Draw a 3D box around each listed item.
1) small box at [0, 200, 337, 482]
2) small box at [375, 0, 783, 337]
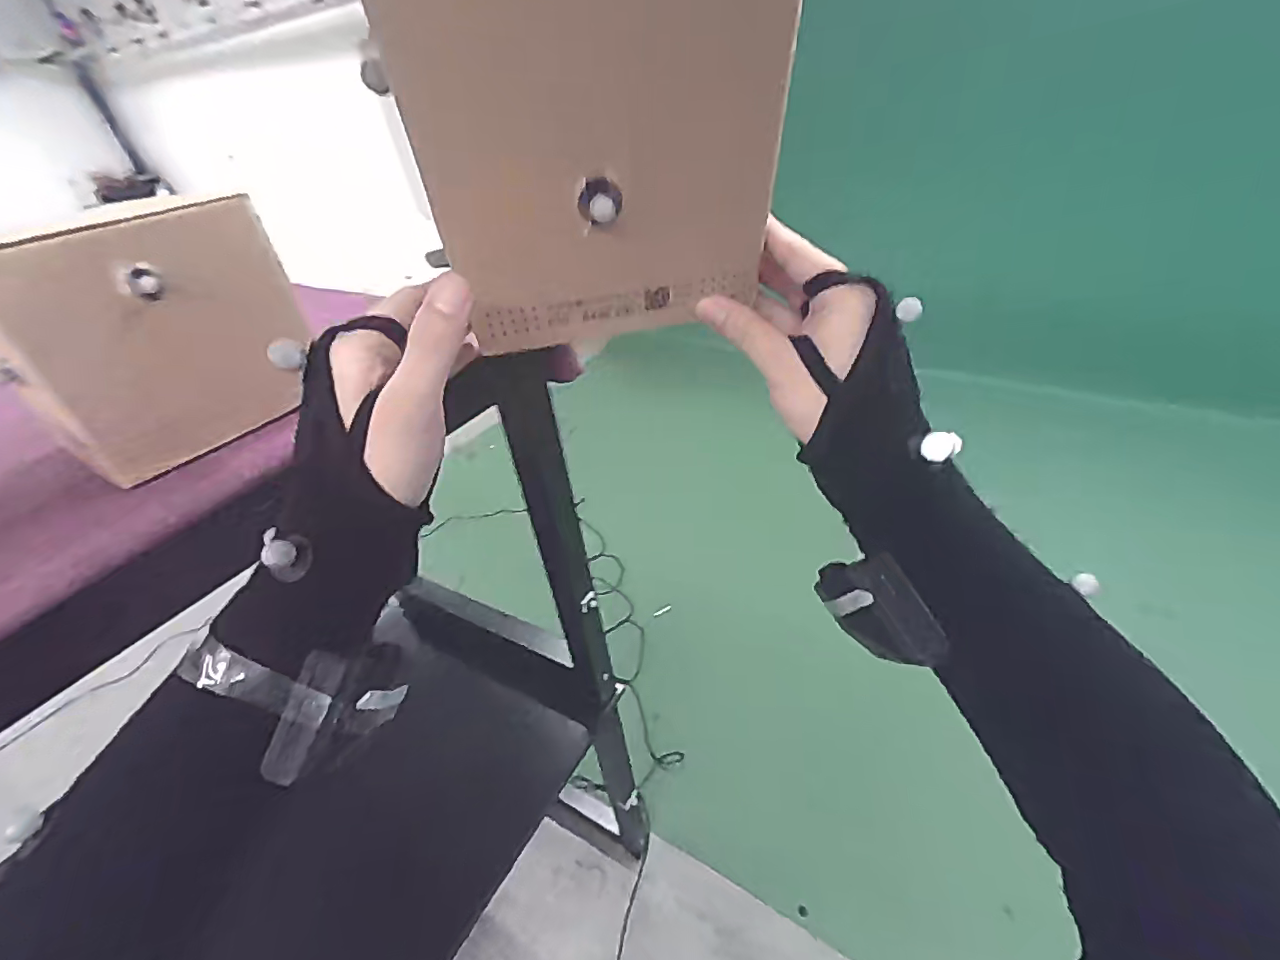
[{"bbox_3d":[-0.403,-0.122,0.453,0.168,0.176,0.179,17,43,31],"label":"small box"},{"bbox_3d":[-0.029,-0.201,0.316,0.168,0.176,0.179,-10,53,-4],"label":"small box"}]
